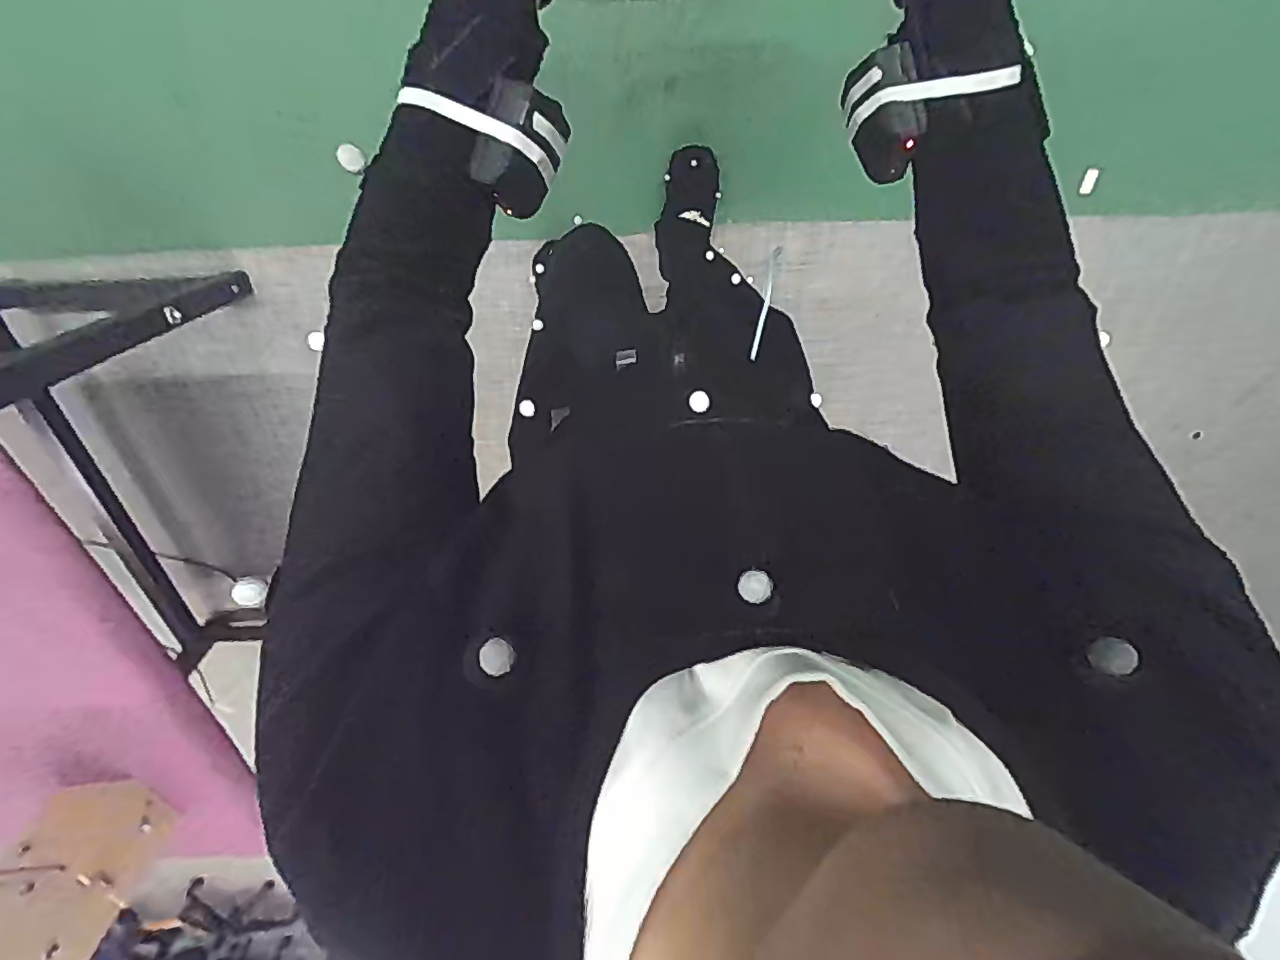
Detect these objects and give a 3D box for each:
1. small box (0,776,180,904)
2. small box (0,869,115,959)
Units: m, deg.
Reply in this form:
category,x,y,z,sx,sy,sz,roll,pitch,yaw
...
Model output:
category,x,y,z,sx,sy,sz,roll,pitch,yaw
small box,-1.107,0.728,1.094,0.179,0.176,0.168,-7,123,3
small box,-1.108,0.813,0.950,0.168,0.176,0.179,-4,122,3
